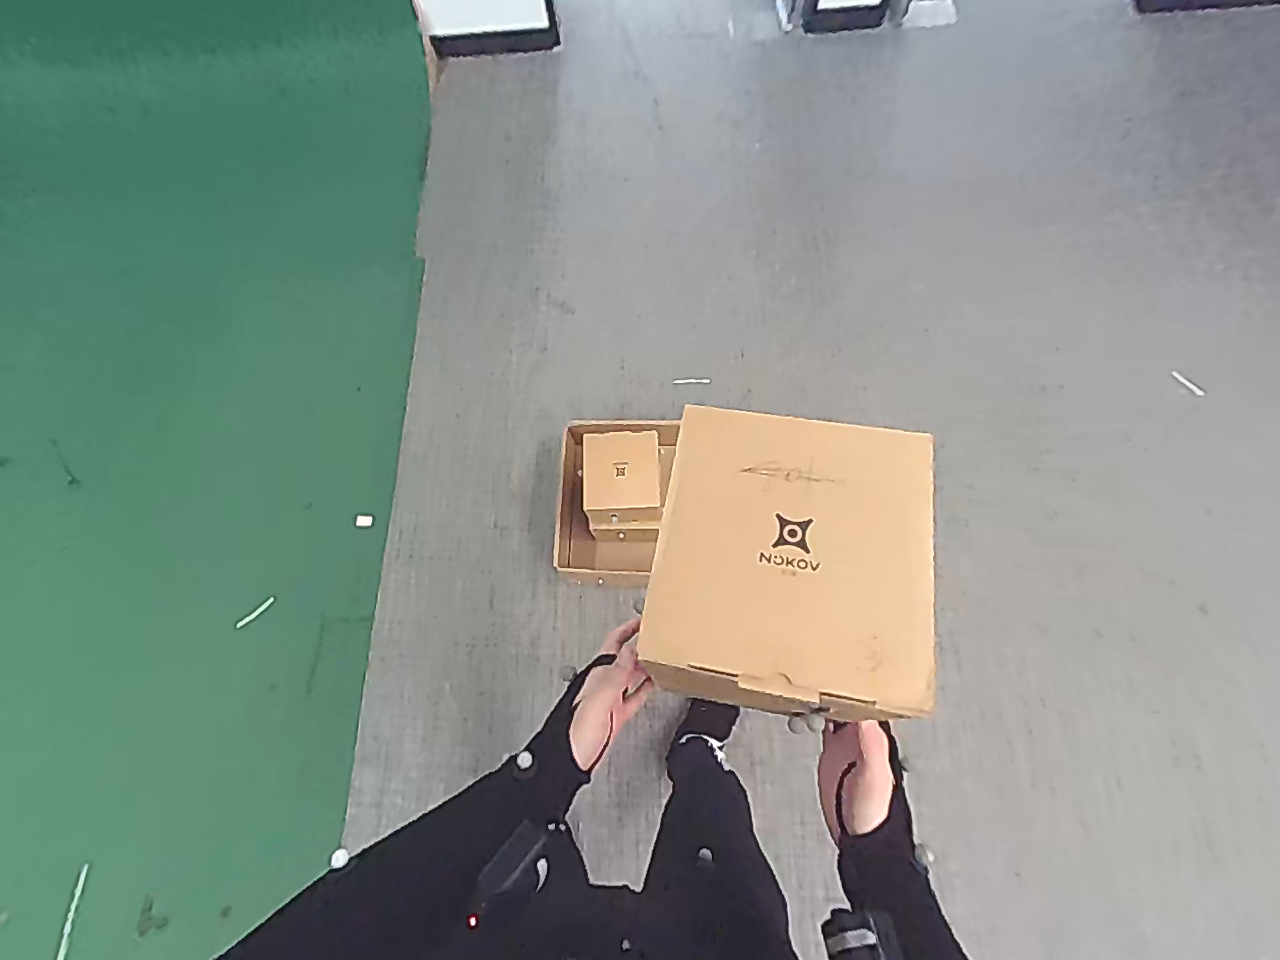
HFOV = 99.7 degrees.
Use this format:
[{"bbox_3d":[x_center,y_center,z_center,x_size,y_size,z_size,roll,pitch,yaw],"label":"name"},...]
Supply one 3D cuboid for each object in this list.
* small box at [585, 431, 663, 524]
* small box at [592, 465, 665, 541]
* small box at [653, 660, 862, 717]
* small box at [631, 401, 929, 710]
[{"bbox_3d":[-0.032,0.002,1.244,0.168,0.176,0.179,-3,73,2],"label":"small box"},{"bbox_3d":[-0.025,0.063,1.394,0.179,0.176,0.168,0,74,1],"label":"small box"},{"bbox_3d":[0.120,0.137,0.554,0.179,0.176,0.168,8,67,11],"label":"small box"},{"bbox_3d":[0.100,0.066,0.409,0.168,0.176,0.179,9,67,10],"label":"small box"}]
